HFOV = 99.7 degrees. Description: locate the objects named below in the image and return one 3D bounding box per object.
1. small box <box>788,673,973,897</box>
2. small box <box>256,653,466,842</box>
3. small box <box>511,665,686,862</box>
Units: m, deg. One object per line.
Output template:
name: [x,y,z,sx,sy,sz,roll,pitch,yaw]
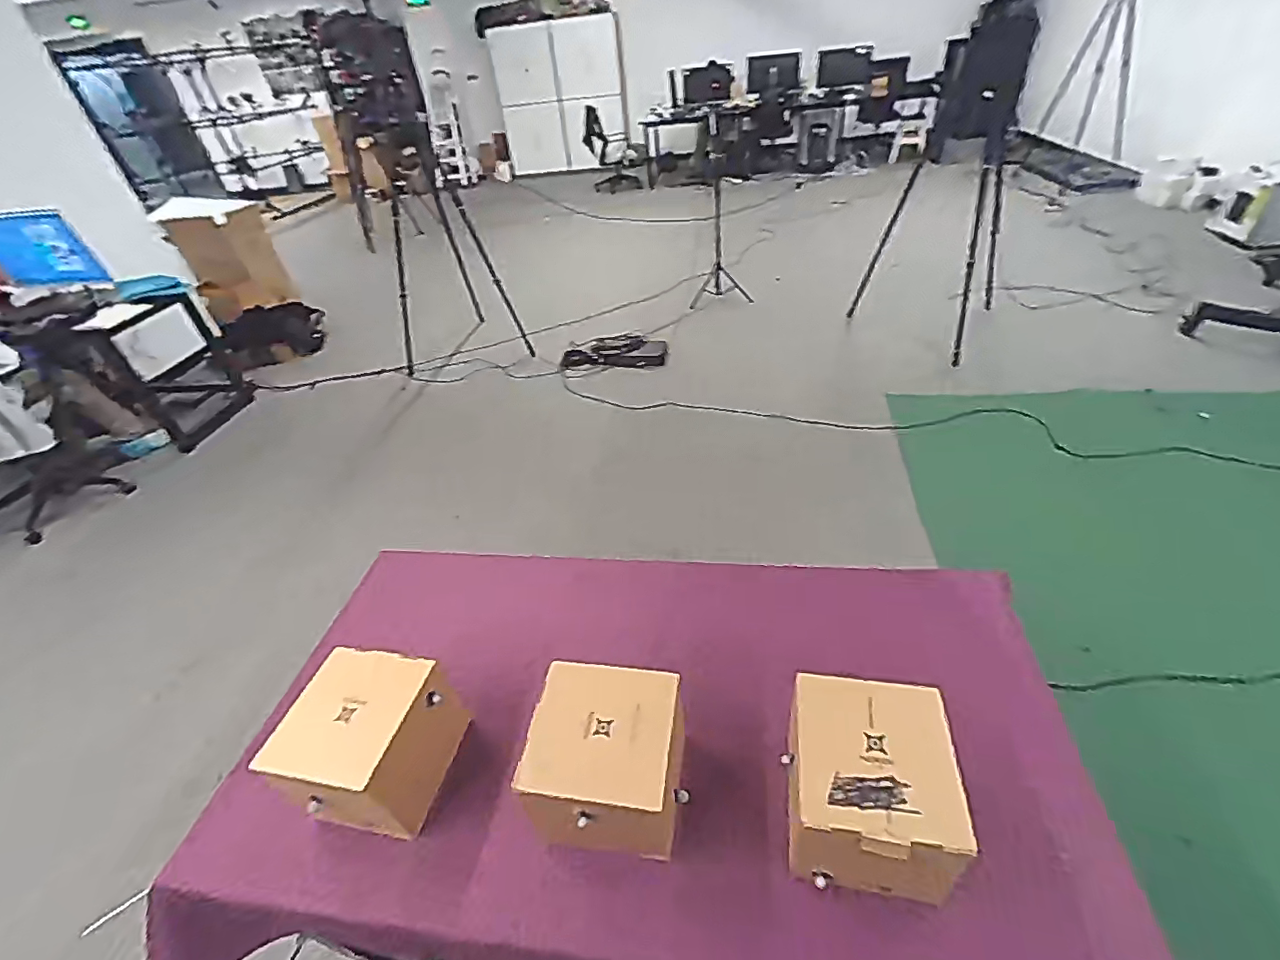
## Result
small box: [0.268,0.362,0.646,0.168,0.176,0.179,2,38,13]
small box: [-0.369,0.373,0.757,0.168,0.176,0.179,2,39,13]
small box: [-0.039,0.366,0.703,0.179,0.176,0.168,2,40,12]
